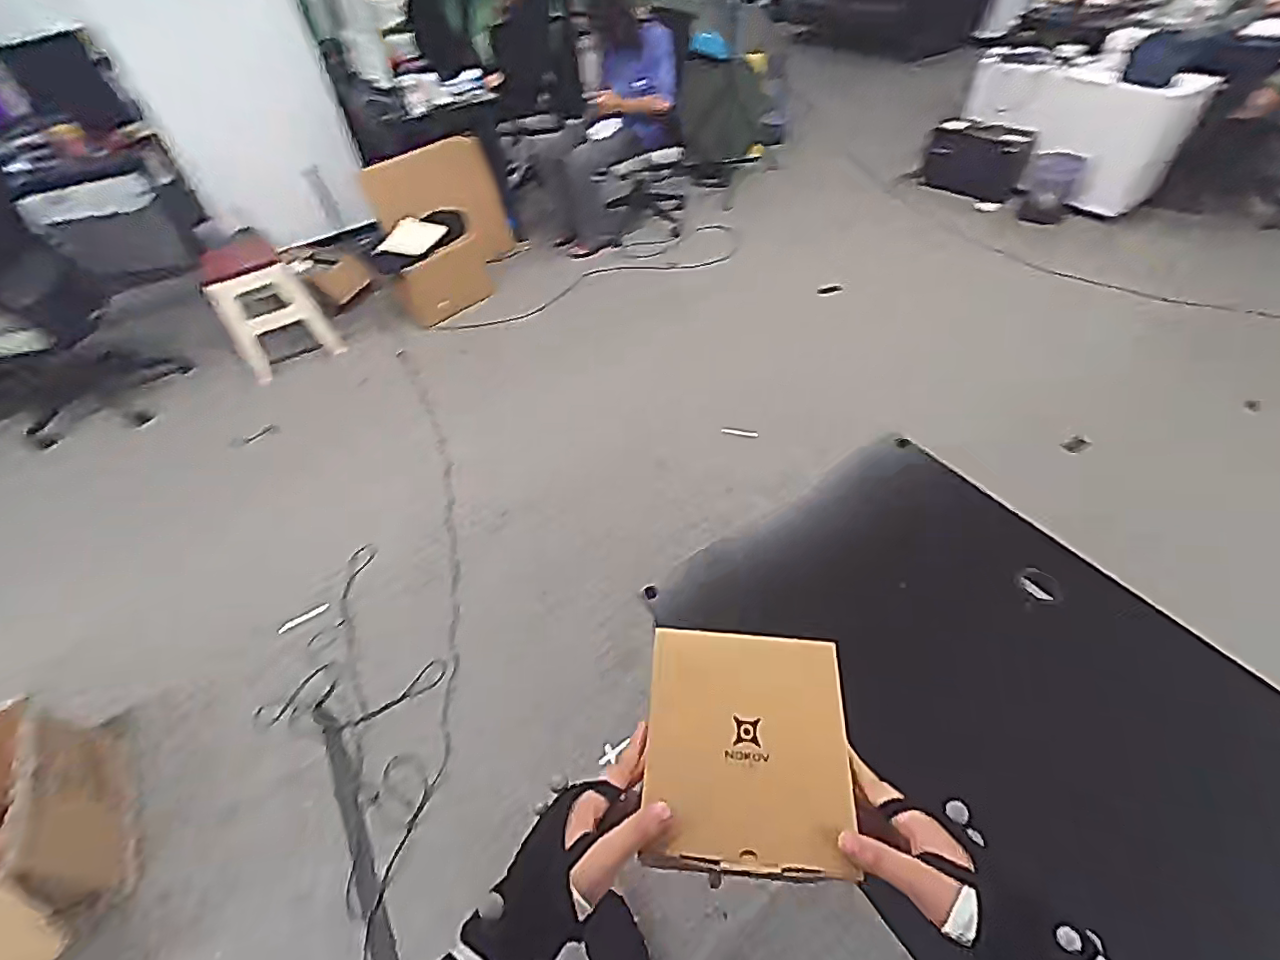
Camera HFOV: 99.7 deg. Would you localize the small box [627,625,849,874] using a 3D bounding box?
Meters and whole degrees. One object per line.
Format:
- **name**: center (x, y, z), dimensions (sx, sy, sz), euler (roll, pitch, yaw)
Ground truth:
- **small box**: center (0.076, 0.256, 0.508), dimensions (0.168, 0.176, 0.179), euler (3, 54, 2)
